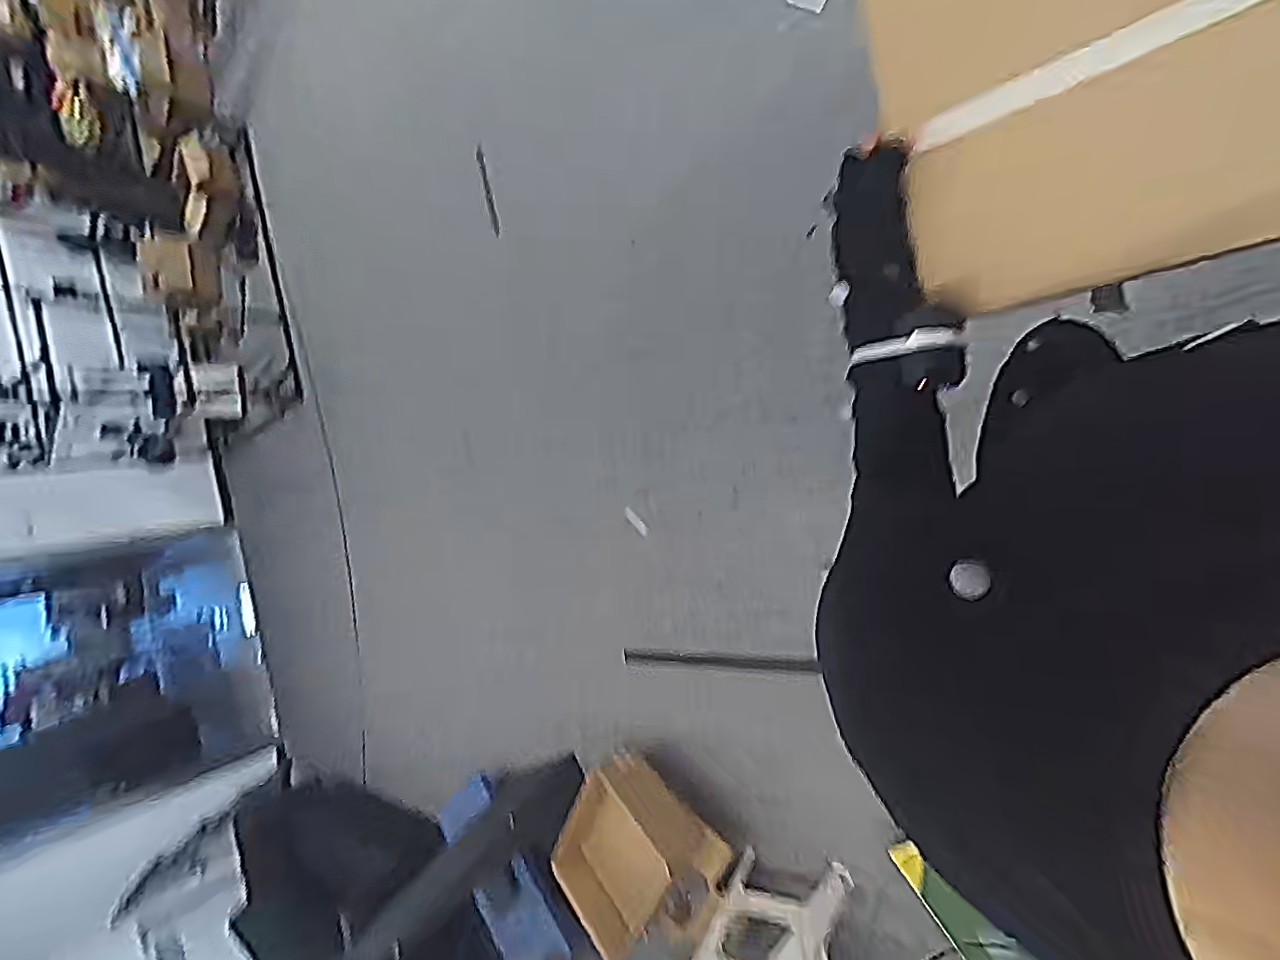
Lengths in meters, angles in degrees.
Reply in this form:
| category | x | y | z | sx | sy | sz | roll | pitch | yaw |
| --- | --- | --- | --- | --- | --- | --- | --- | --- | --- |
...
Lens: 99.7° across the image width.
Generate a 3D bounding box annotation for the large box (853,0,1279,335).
| category | x | y | z | sx | sy | sz | roll | pitch | yaw |
| --- | --- | --- | --- | --- | --- | --- | --- | --- | --- |
| large box | 0.462 | -0.346 | 0.492 | 0.408 | 0.320 | 0.320 | -11 | 99 | 36 |
